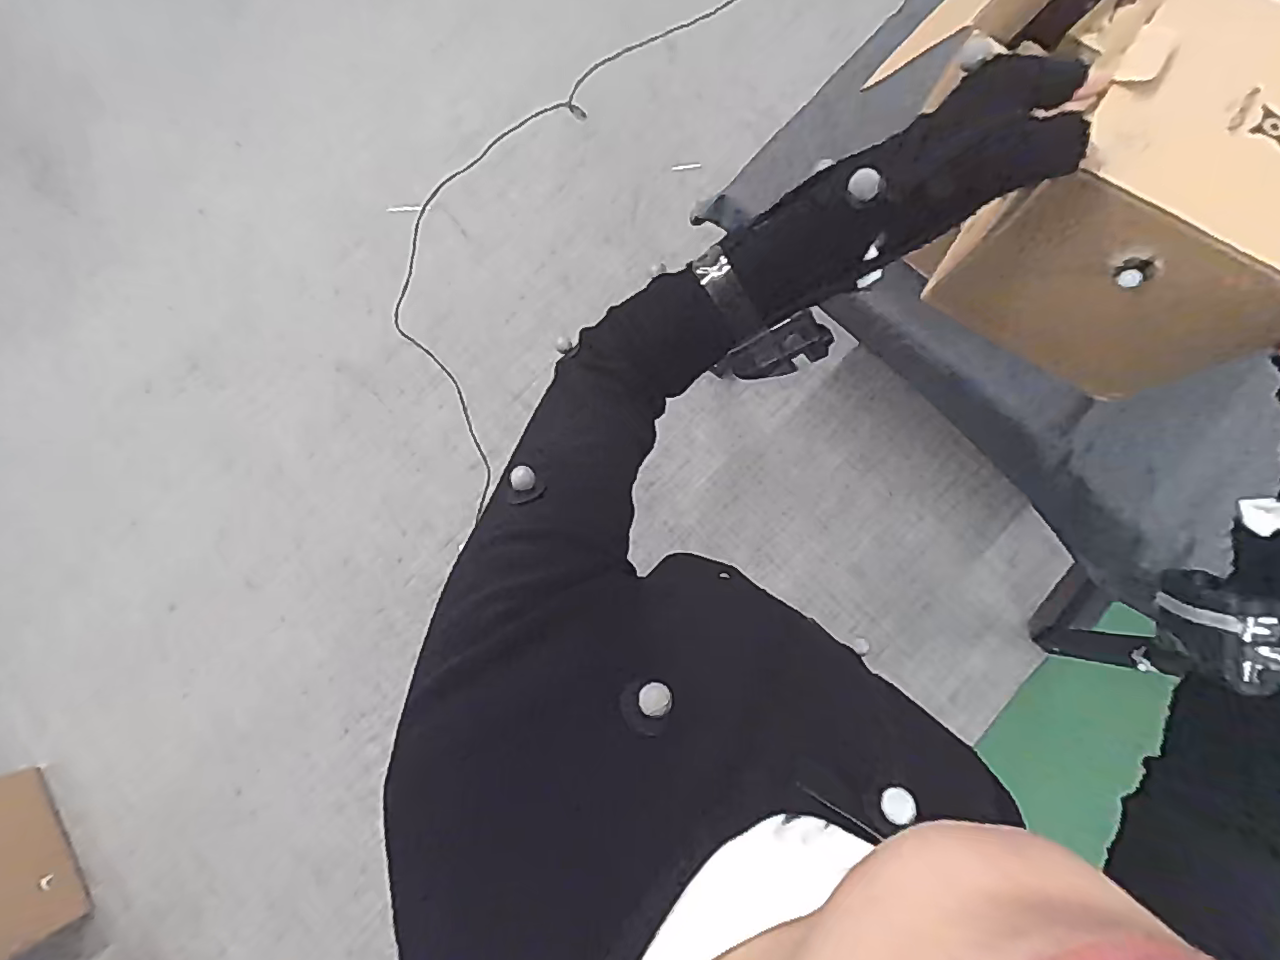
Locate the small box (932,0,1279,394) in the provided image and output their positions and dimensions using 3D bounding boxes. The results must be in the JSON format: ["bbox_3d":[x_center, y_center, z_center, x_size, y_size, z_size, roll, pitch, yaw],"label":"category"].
[{"bbox_3d":[0.359,-0.187,0.392,0.179,0.176,0.168,34,83,4],"label":"small box"}]
